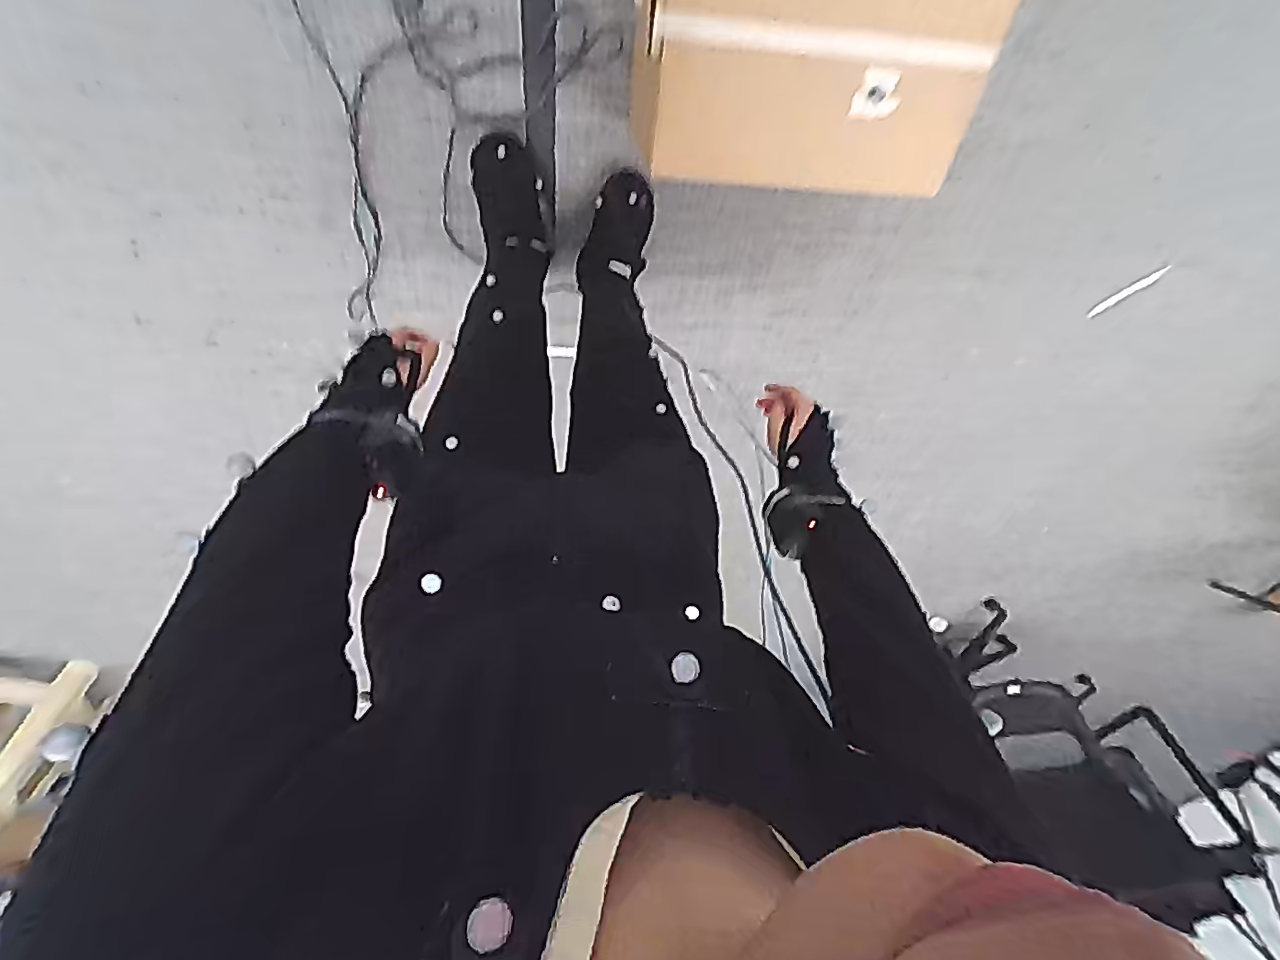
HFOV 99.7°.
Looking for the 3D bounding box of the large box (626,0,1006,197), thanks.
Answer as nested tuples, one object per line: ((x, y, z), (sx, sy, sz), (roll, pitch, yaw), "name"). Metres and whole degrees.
((0.198, -0.605, 0.739), (0.408, 0.320, 0.320), (-1, 134, -9), "large box")
